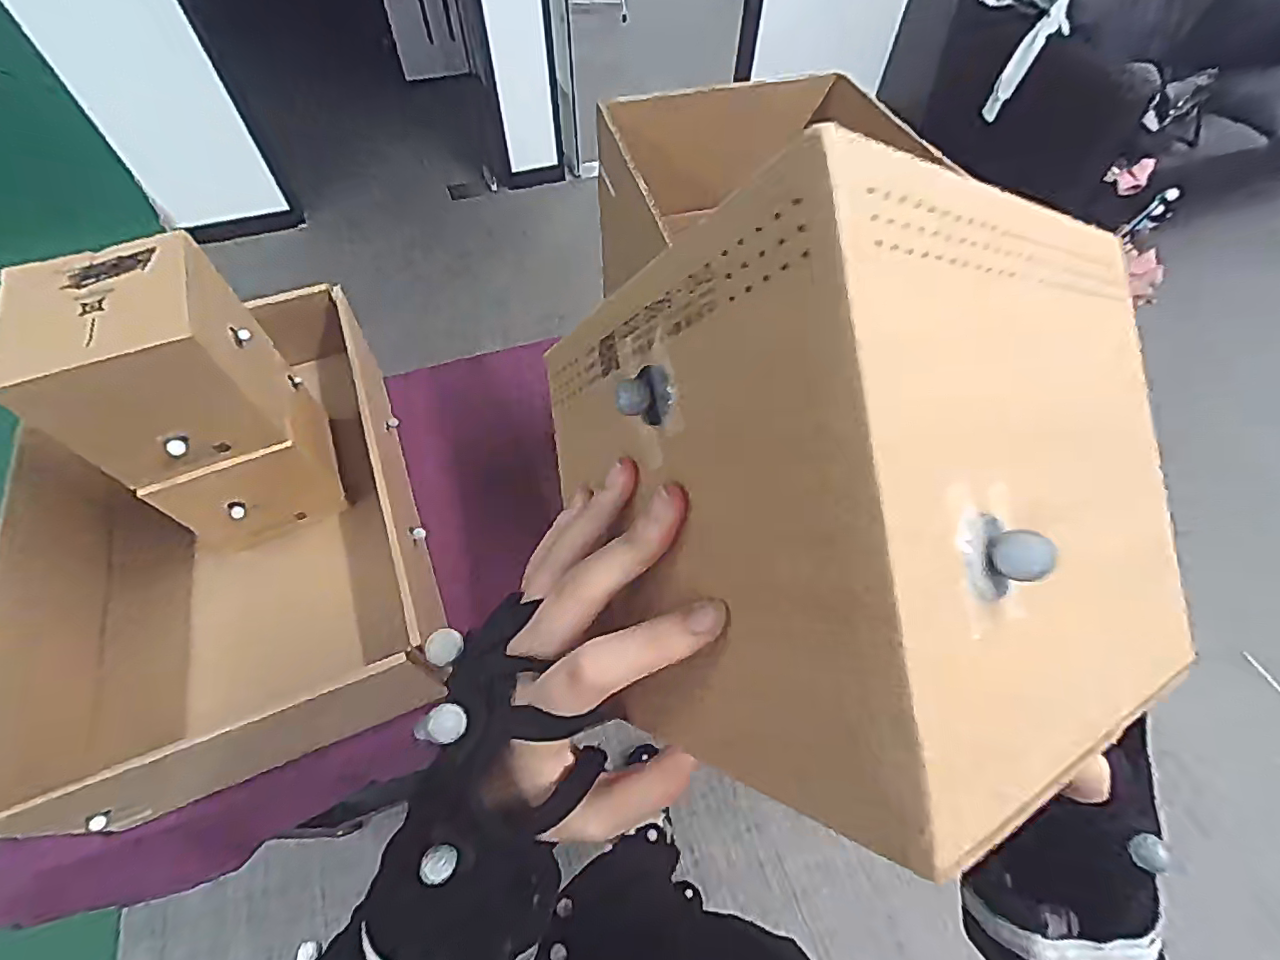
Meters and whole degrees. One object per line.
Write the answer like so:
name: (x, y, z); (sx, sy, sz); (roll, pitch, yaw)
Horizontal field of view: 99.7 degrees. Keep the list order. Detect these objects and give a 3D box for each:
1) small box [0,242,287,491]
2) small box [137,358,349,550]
small box: (-0.519, -0.118, 0.586); (0.168, 0.176, 0.179); (-21, 62, -13)
small box: (-0.517, -0.026, 0.723); (0.168, 0.176, 0.179); (-23, 61, -13)
